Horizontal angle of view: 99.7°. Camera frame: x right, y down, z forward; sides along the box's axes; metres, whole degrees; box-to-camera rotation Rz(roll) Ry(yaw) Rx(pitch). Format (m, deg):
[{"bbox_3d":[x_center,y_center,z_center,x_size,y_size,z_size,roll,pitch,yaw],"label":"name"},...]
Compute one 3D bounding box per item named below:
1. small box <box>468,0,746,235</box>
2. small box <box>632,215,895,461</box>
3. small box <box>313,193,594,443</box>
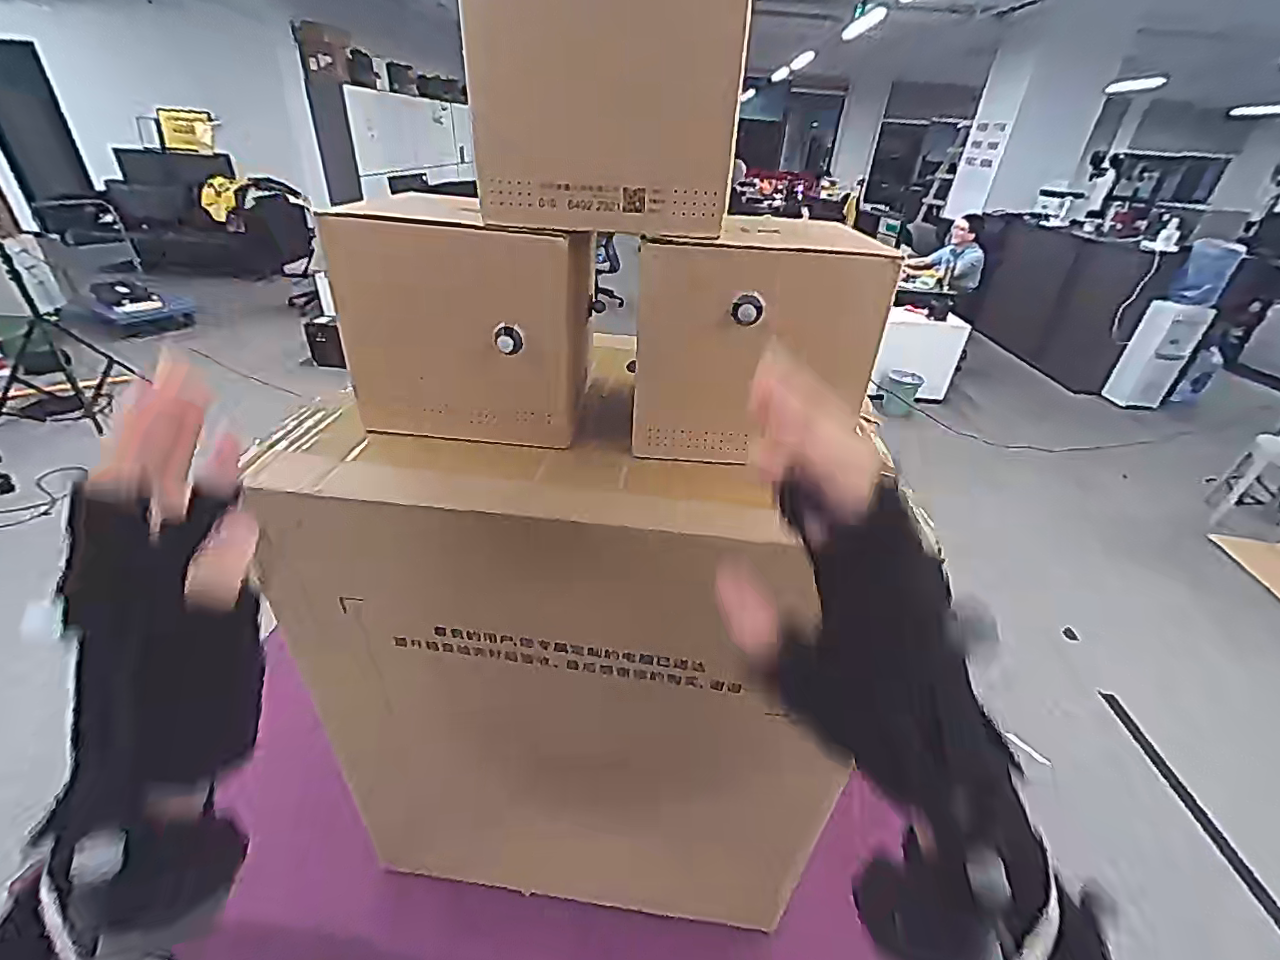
[{"bbox_3d":[-0.019,-0.280,0.394,0.168,0.176,0.179,4,31,2],"label":"small box"},{"bbox_3d":[0.085,-0.128,0.467,0.179,0.176,0.168,4,32,0],"label":"small box"},{"bbox_3d":[-0.137,-0.144,0.473,0.179,0.176,0.168,4,31,0],"label":"small box"}]
